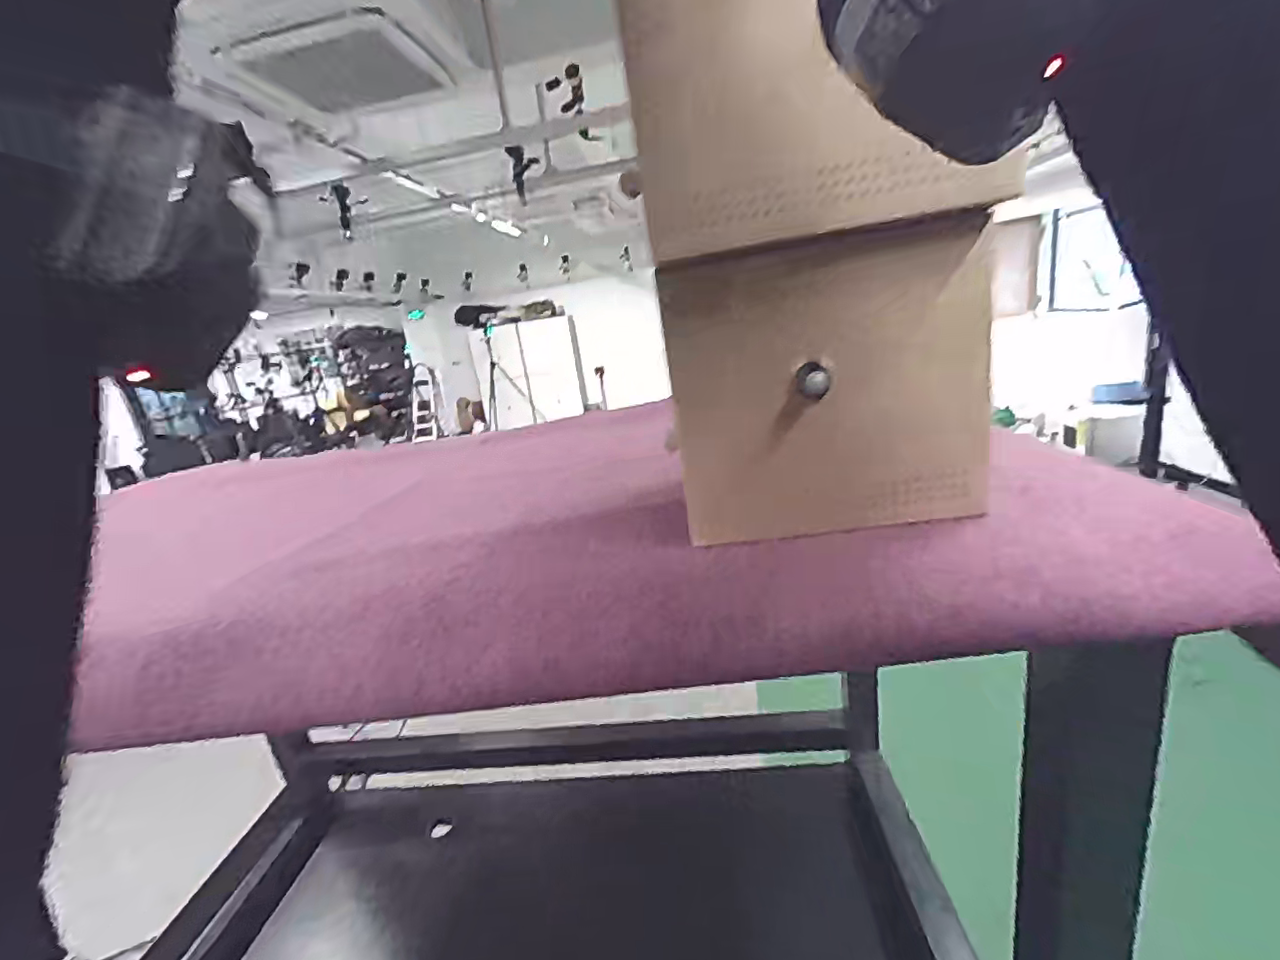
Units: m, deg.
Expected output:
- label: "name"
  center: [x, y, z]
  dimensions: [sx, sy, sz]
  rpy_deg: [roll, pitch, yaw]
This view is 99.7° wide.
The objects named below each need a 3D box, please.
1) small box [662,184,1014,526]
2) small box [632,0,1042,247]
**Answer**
- label: "small box"
  center: [0.117, -0.080, 0.371]
  dimensions: [0.179, 0.176, 0.168]
  rpy_deg: [-8, 17, 8]
- label: "small box"
  center: [0.092, -0.229, 0.303]
  dimensions: [0.179, 0.176, 0.168]
  rpy_deg: [-7, 17, 8]
